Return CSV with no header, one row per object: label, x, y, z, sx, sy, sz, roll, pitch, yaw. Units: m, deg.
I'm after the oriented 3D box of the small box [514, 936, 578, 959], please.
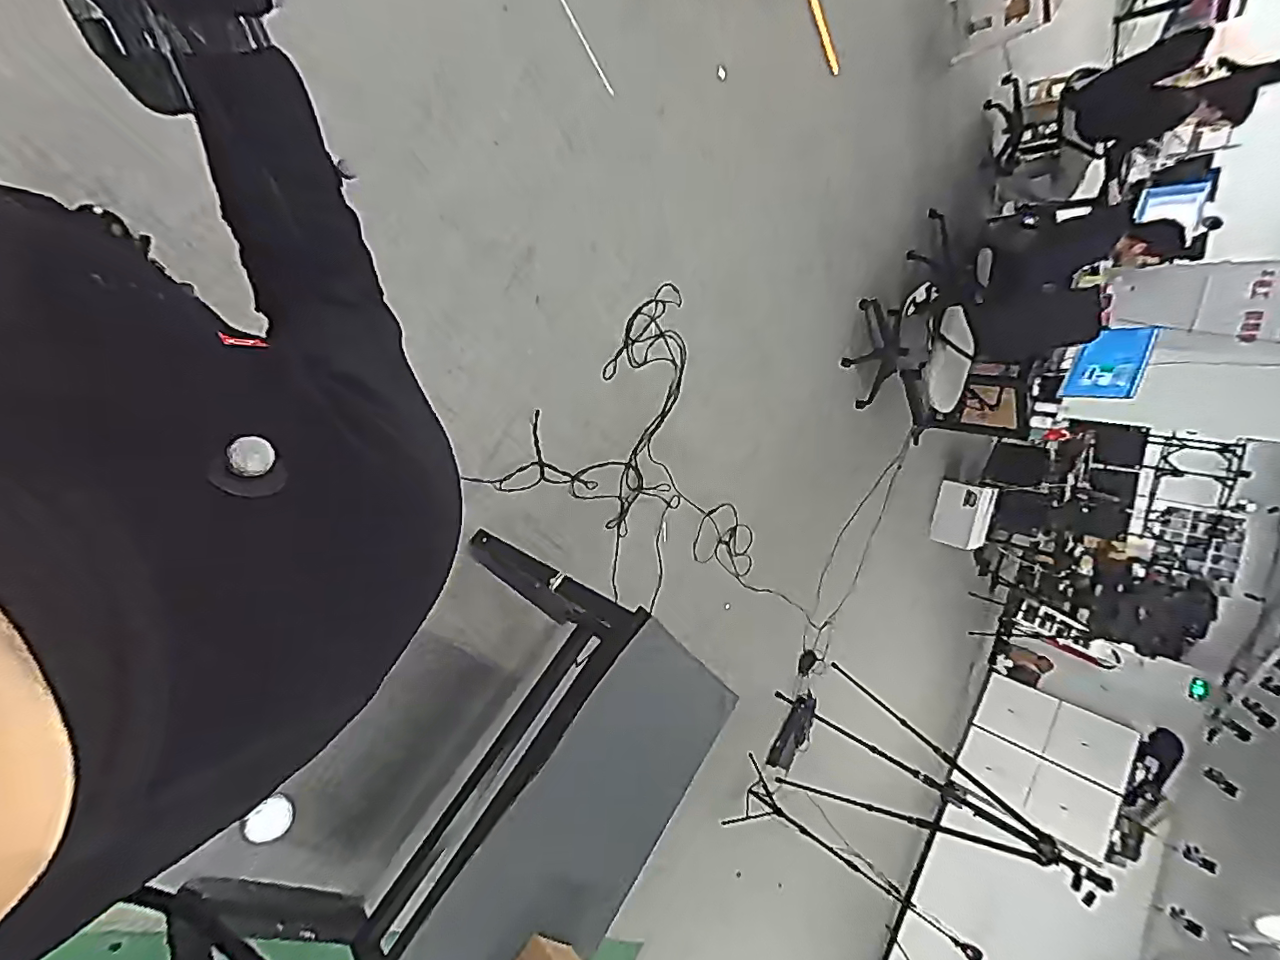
small box,-0.195,1.112,1.135,0.168,0.176,0.179,-48,131,-23
